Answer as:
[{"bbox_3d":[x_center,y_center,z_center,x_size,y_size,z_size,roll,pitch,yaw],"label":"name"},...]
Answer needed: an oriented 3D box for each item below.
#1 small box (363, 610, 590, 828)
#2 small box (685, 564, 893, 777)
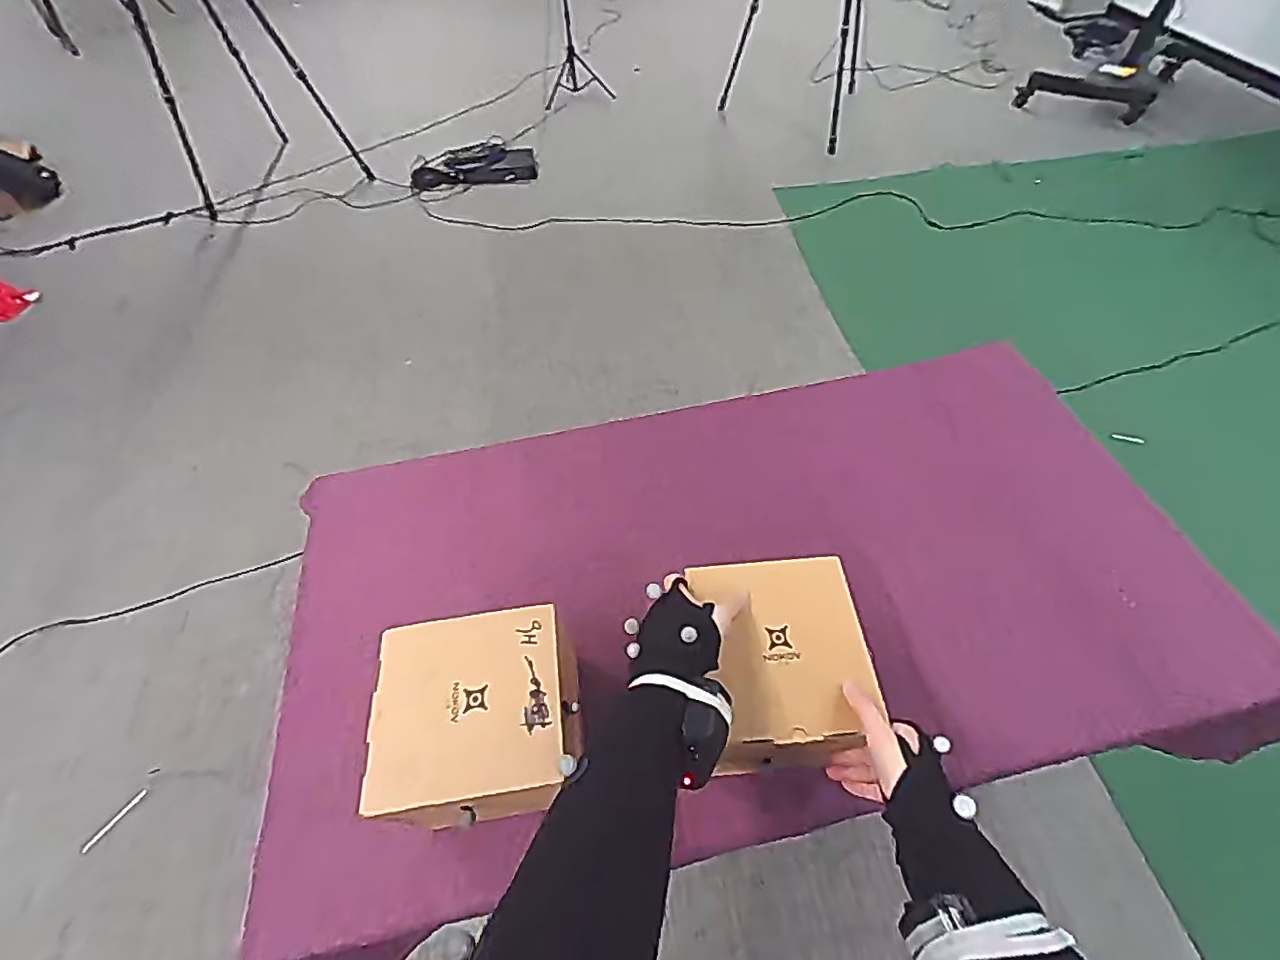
[{"bbox_3d":[-0.155,0.255,0.568,0.179,0.176,0.168,-8,55,-3],"label":"small box"},{"bbox_3d":[0.140,0.210,0.587,0.168,0.176,0.179,-5,55,0],"label":"small box"}]
